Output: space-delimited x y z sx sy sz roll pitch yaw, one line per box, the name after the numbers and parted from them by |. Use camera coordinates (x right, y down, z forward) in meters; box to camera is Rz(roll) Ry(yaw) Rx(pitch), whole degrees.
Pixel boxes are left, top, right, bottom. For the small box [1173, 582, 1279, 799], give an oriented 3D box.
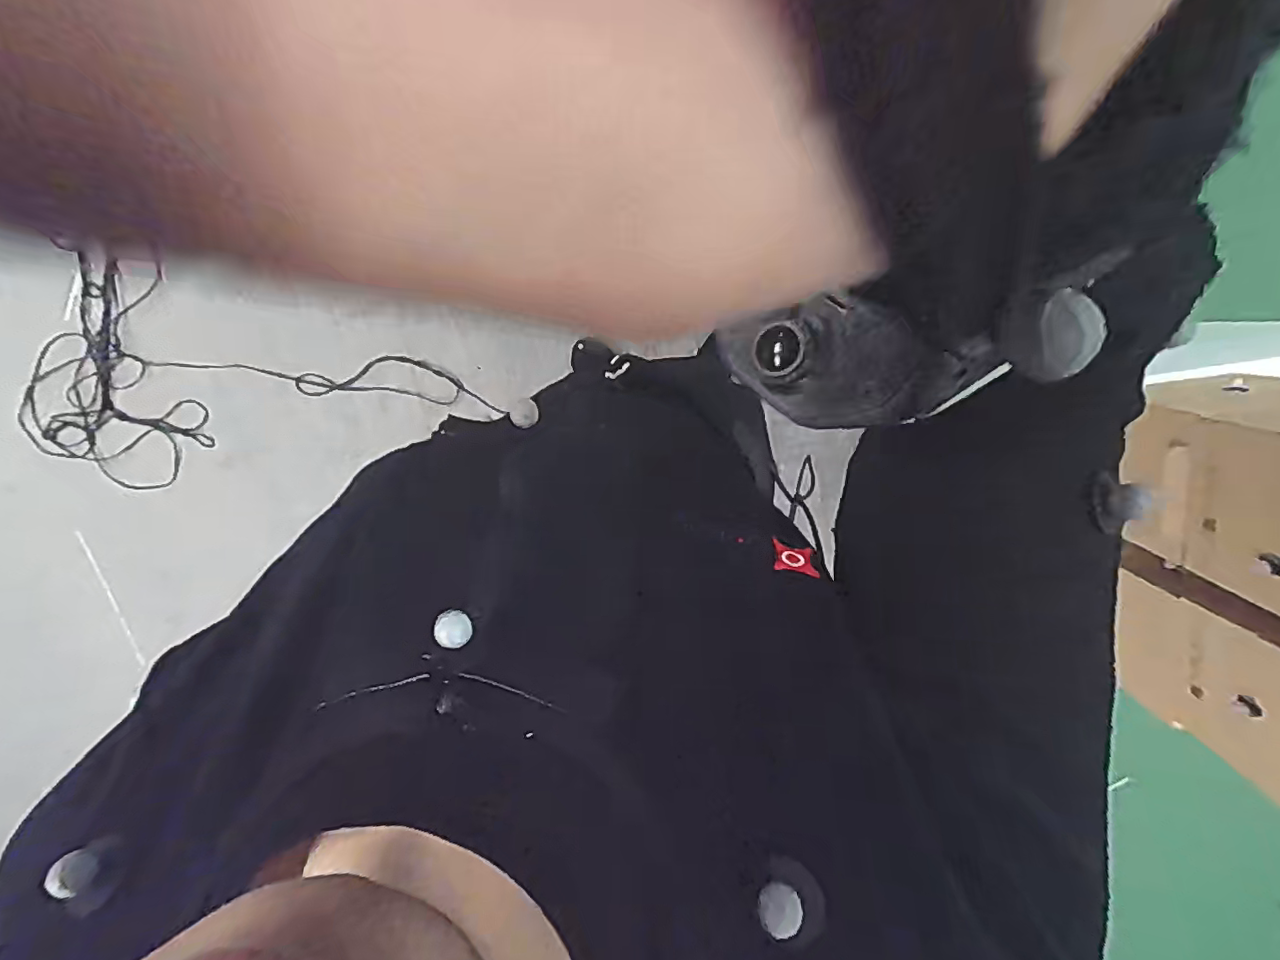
0.660 0.205 0.508 0.179 0.176 0.168 -12 104 8 | small box
